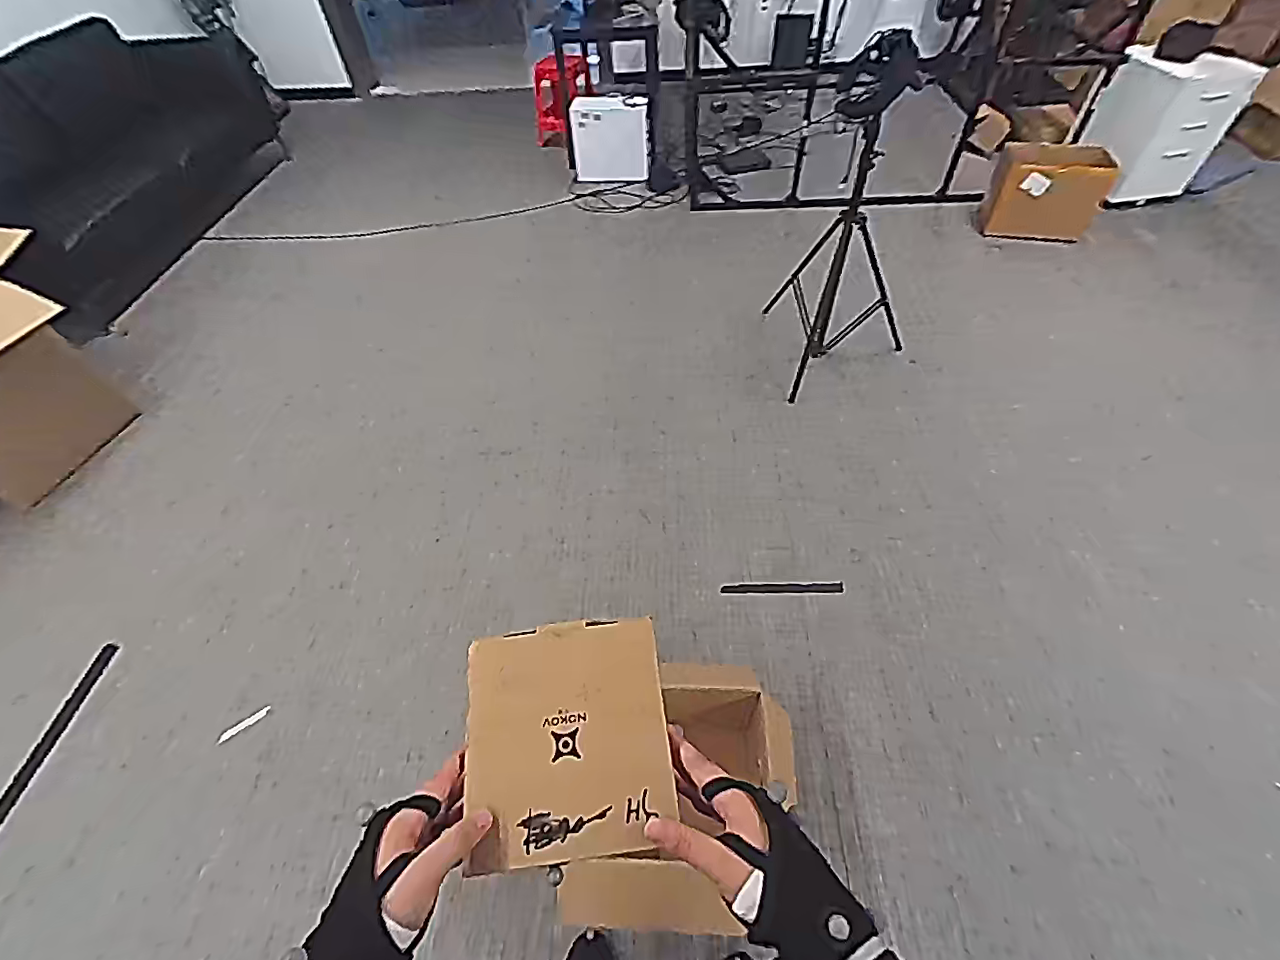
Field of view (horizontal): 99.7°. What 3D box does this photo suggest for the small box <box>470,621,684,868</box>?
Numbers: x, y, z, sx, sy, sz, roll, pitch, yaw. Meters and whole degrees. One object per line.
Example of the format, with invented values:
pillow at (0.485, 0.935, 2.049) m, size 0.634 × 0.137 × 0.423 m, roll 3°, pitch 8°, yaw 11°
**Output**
small box at (-0.054, 0.252, 0.521) m, size 0.168 × 0.176 × 0.179 m, roll -7°, pitch 60°, yaw -1°
